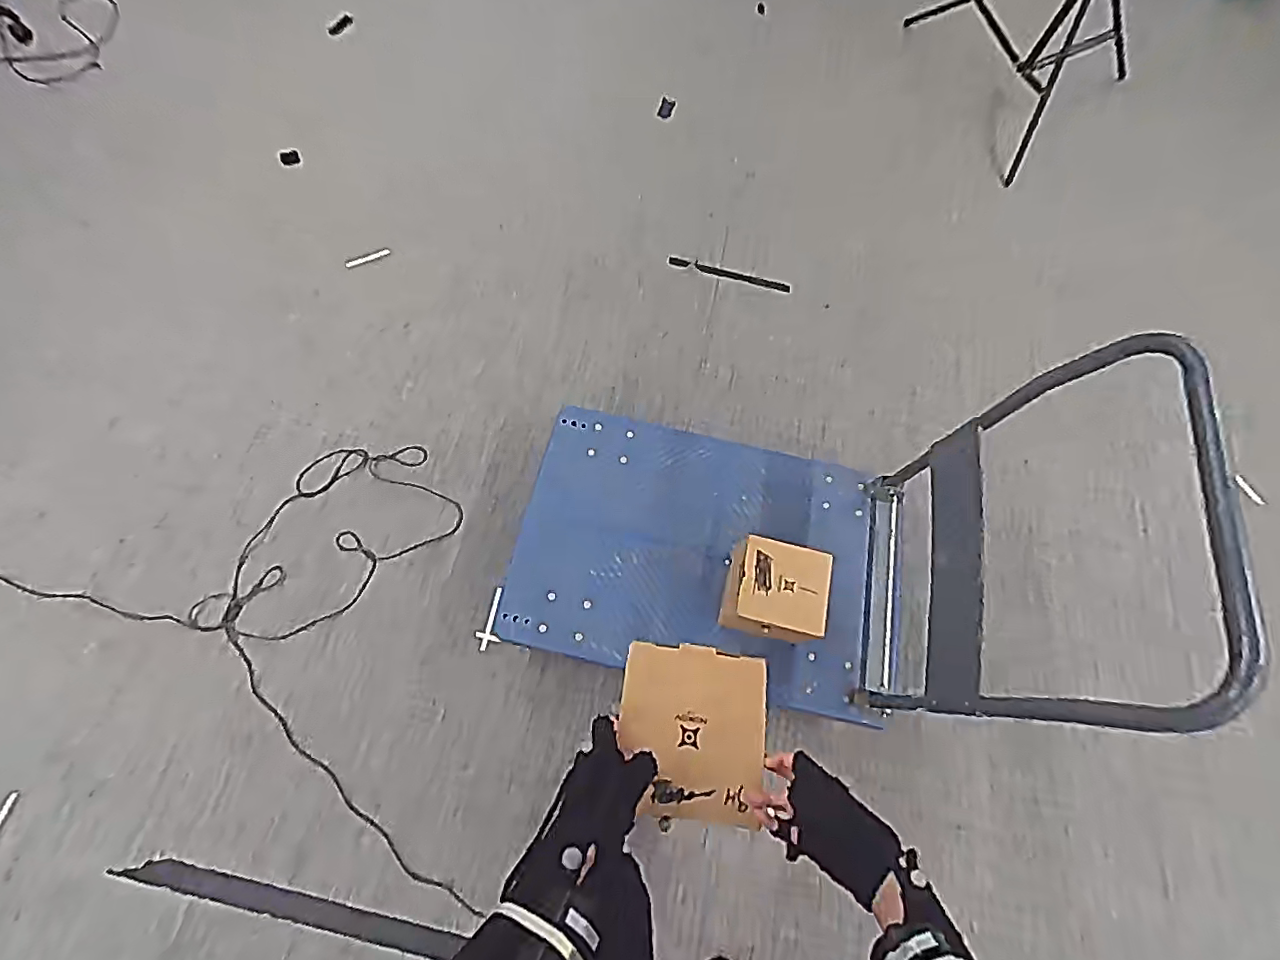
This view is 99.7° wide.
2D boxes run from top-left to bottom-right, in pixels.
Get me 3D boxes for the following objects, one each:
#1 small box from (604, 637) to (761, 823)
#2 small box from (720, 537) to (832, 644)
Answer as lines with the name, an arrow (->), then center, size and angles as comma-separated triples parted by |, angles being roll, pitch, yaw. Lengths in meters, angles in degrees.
small box -> 0.051, 0.316, 0.680 | 0.168, 0.176, 0.179 | 7, 60, 3
small box -> 0.275, 0.238, 1.128 | 0.179, 0.176, 0.168 | 15, 69, 2
